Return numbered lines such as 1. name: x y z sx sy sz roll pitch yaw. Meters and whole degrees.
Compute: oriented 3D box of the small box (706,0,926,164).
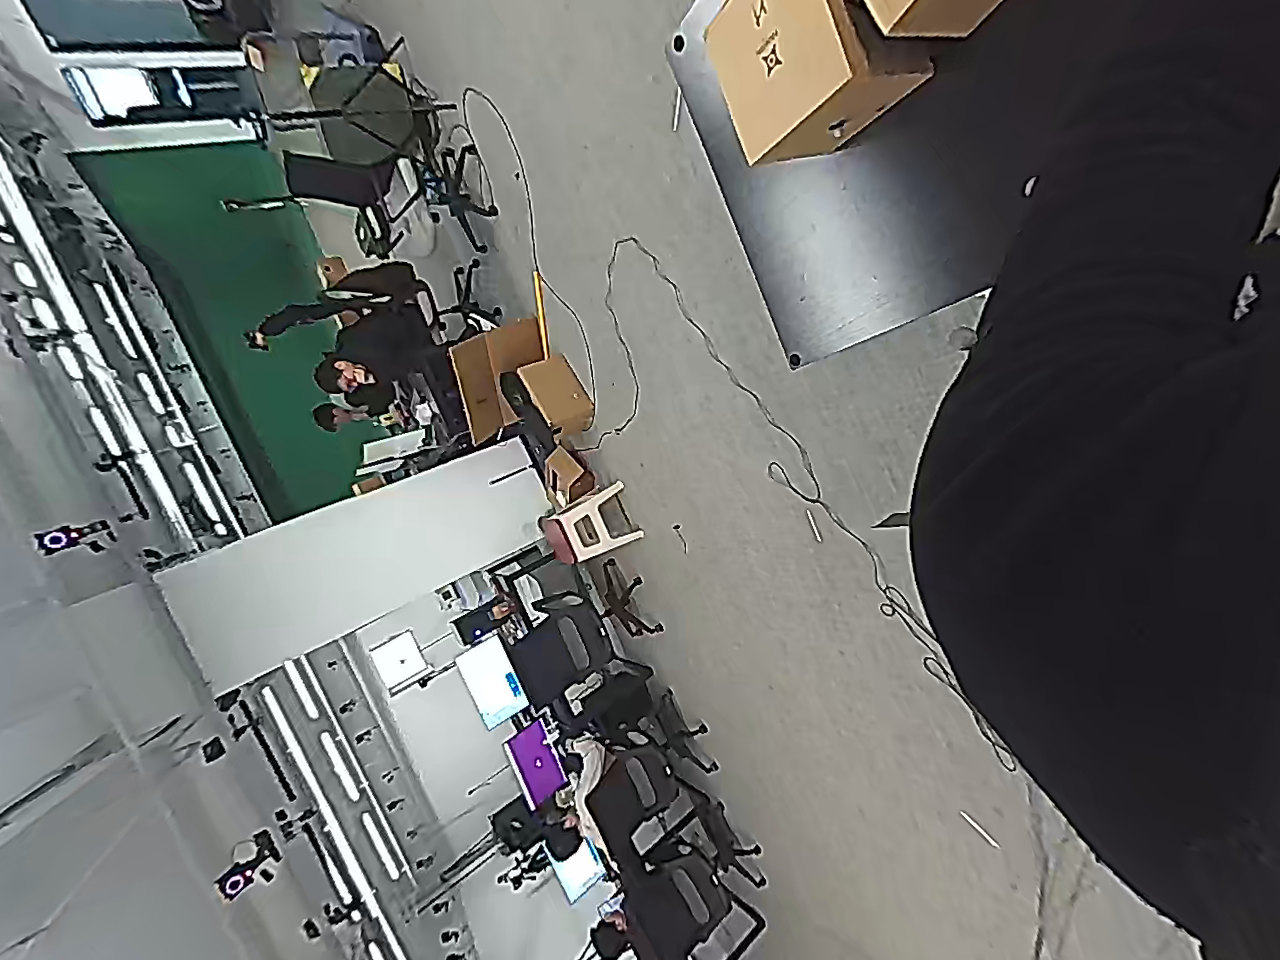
1. small box: 0.218 -0.531 0.668 0.168 0.176 0.179 -10 104 60
